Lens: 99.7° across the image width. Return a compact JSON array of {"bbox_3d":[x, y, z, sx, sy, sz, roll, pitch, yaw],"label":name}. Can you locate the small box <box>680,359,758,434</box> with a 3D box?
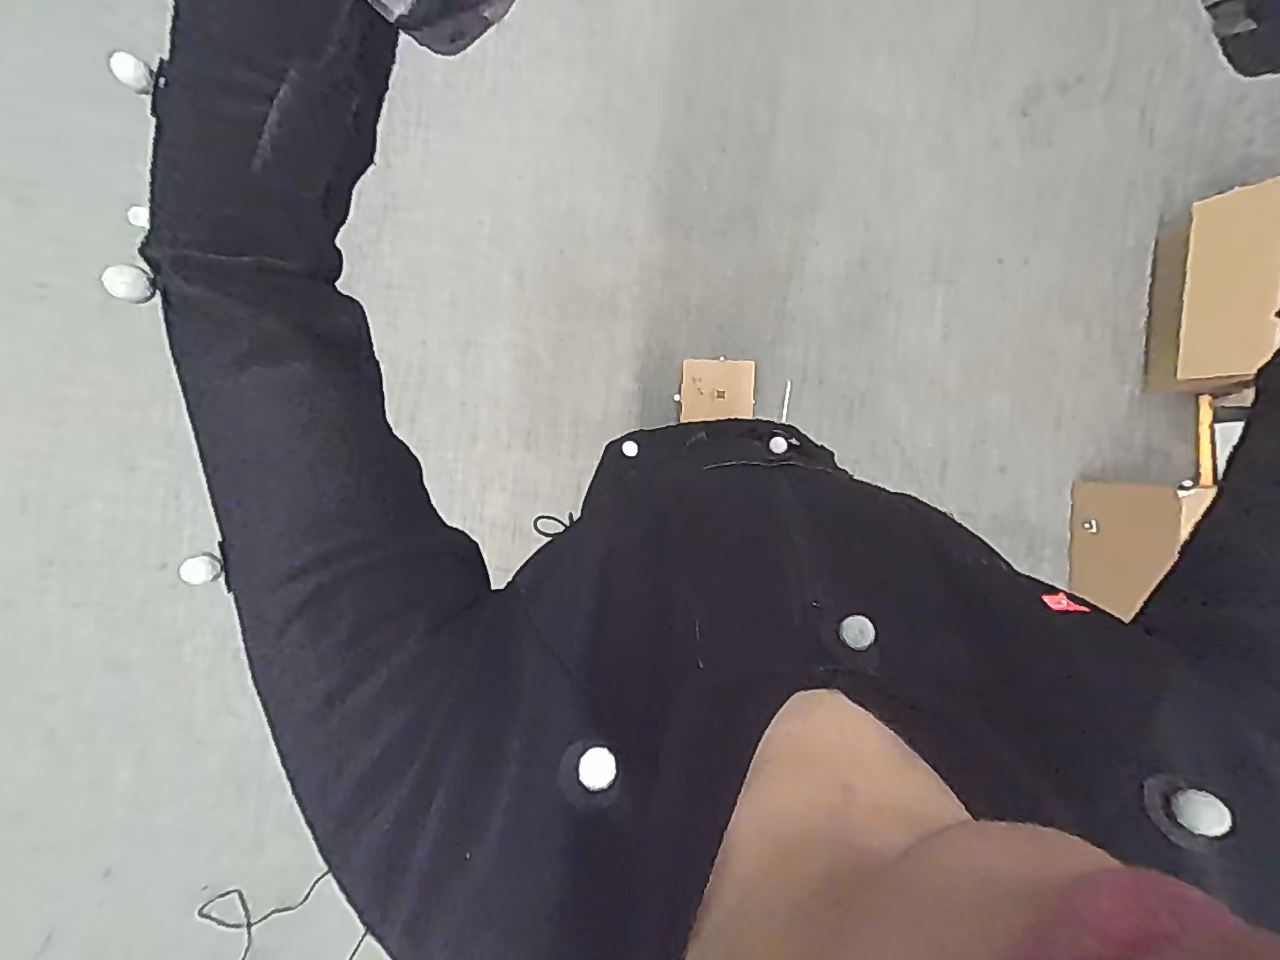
[{"bbox_3d":[0.195,-0.206,1.378,0.179,0.176,0.168,3,91,4],"label":"small box"}]
